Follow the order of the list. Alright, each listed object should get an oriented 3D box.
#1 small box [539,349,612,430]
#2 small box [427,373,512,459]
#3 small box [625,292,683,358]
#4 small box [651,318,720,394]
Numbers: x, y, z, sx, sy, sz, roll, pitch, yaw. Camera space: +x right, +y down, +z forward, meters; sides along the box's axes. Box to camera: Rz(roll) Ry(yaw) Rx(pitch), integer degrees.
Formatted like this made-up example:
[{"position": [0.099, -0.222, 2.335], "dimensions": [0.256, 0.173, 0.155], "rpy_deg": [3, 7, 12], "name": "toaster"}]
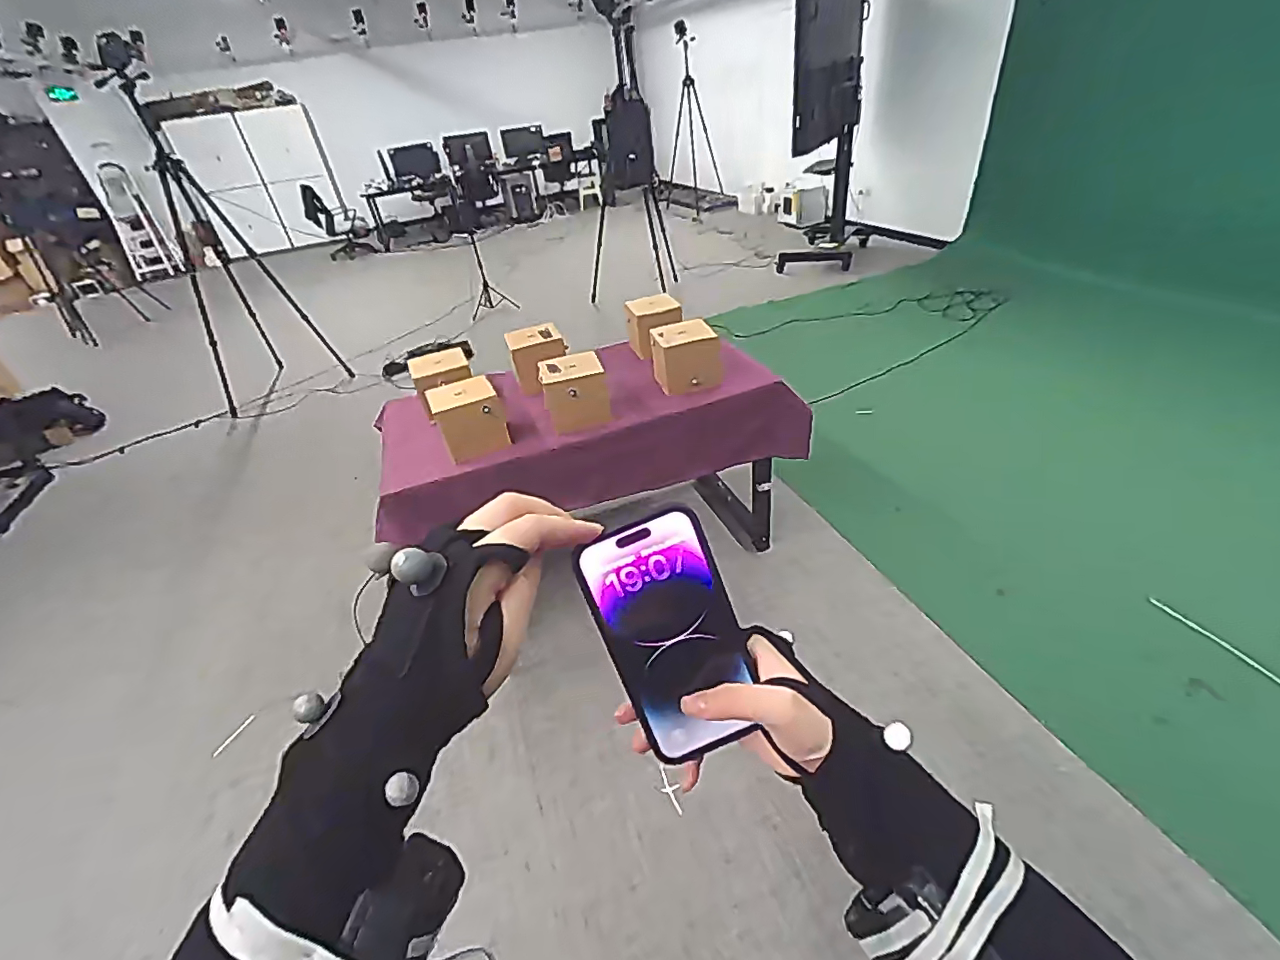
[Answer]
[{"position": [-0.190, -0.266, 1.603], "dimensions": [0.179, 0.176, 0.168], "rpy_deg": [-13, 36, -8], "name": "small box"}, {"position": [-0.487, -0.181, 1.548], "dimensions": [0.179, 0.176, 0.168], "rpy_deg": [-20, 37, -18], "name": "small box"}, {"position": [0.052, -0.561, 1.955], "dimensions": [0.168, 0.176, 0.179], "rpy_deg": [-16, 38, -9], "name": "small box"}, {"position": [0.143, -0.391, 1.707], "dimensions": [0.179, 0.176, 0.168], "rpy_deg": [-13, 36, -7], "name": "small box"}]
